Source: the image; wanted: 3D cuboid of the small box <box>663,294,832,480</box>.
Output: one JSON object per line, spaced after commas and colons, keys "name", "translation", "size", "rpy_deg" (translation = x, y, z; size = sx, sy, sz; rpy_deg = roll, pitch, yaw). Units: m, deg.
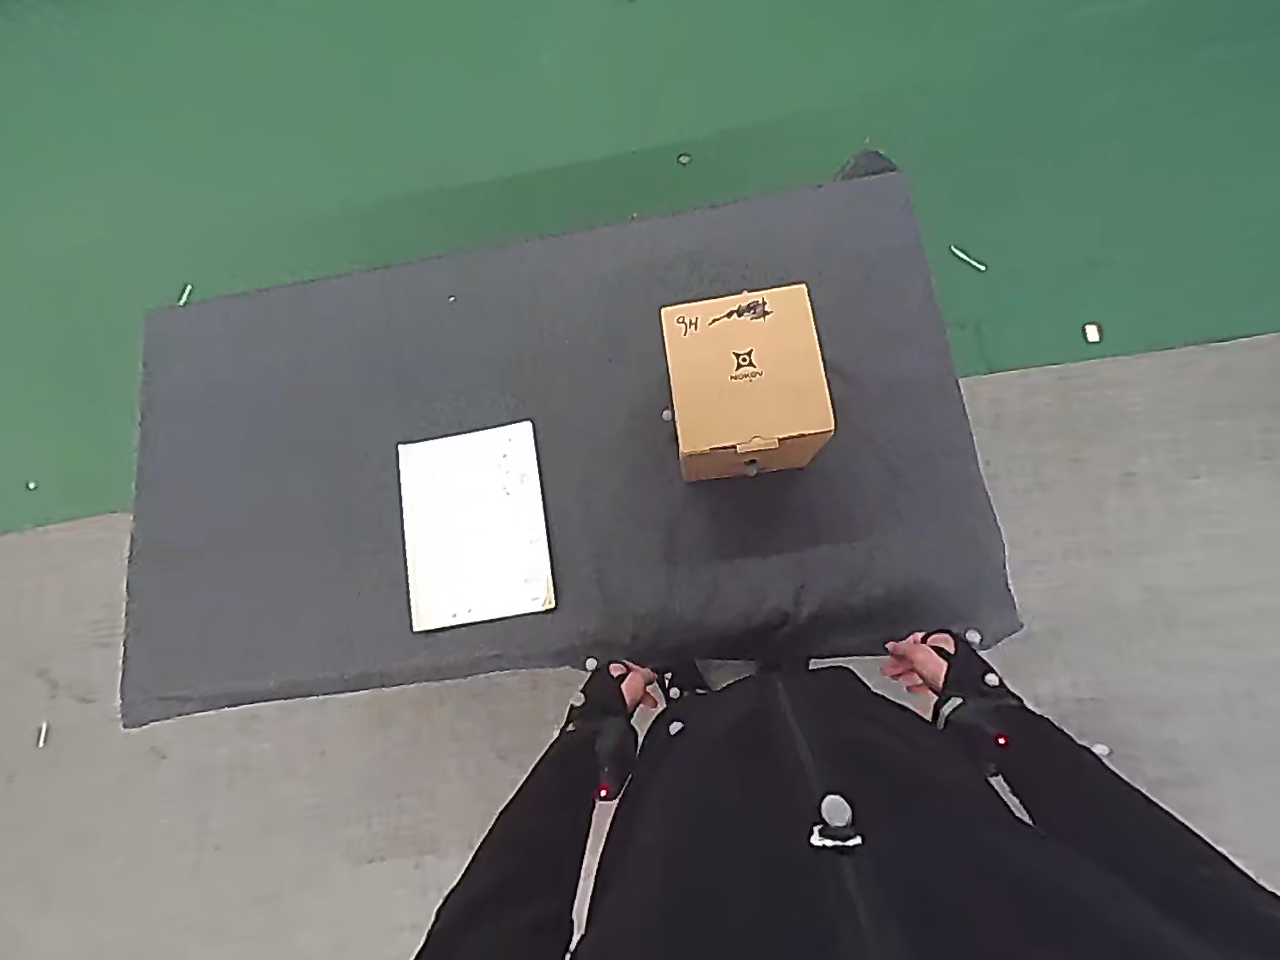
{"name": "small box", "translation": [0.125, -0.100, 0.671], "size": [0.168, 0.176, 0.179], "rpy_deg": [-8, 80, 5]}
